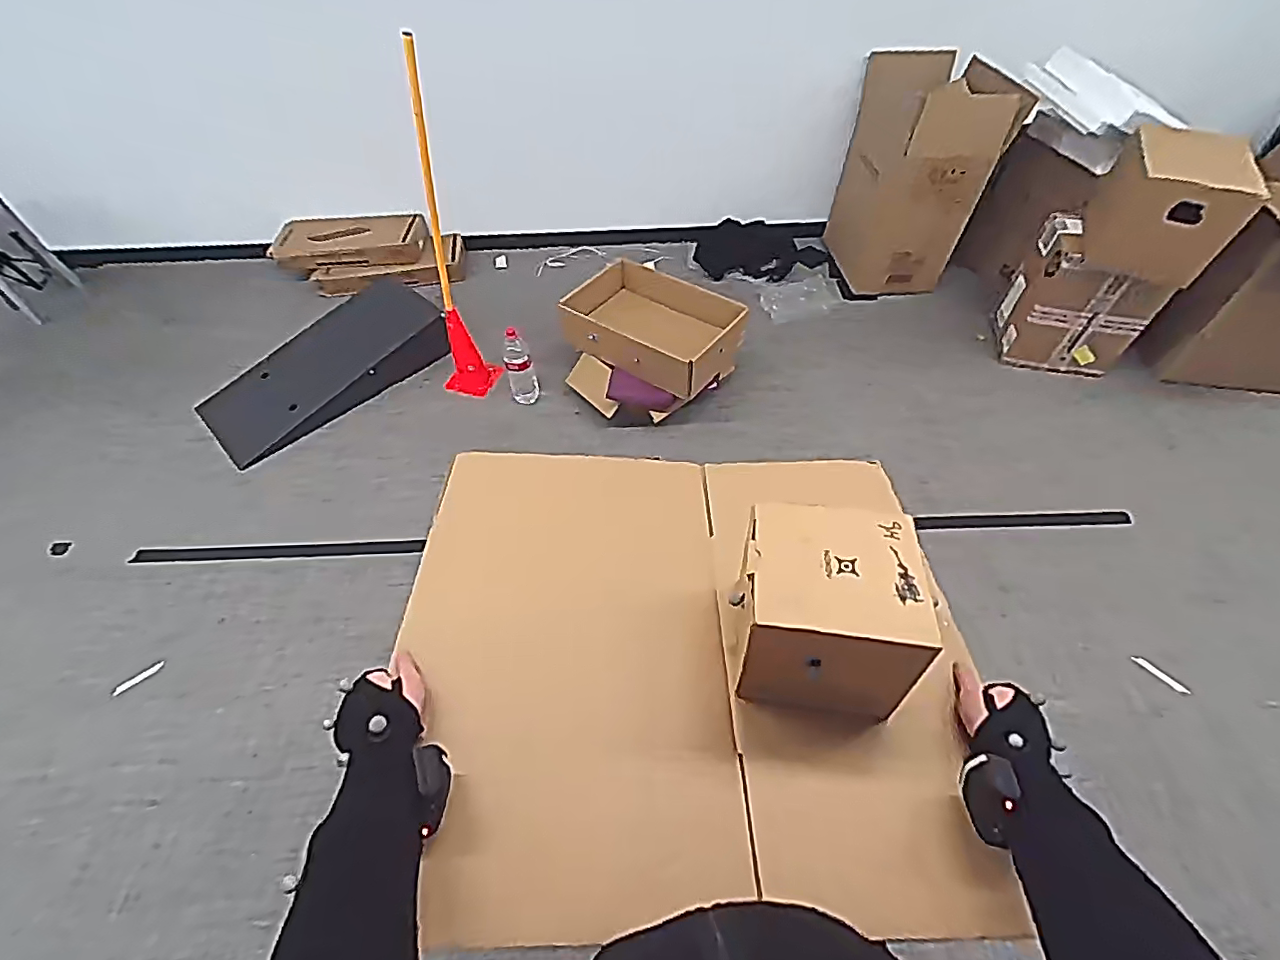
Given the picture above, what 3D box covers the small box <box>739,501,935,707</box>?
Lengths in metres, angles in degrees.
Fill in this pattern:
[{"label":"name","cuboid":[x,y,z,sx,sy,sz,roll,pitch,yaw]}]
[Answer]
[{"label":"small box","cuboid":[0.209,0.145,0.628,0.179,0.176,0.168,5,47,8]}]
